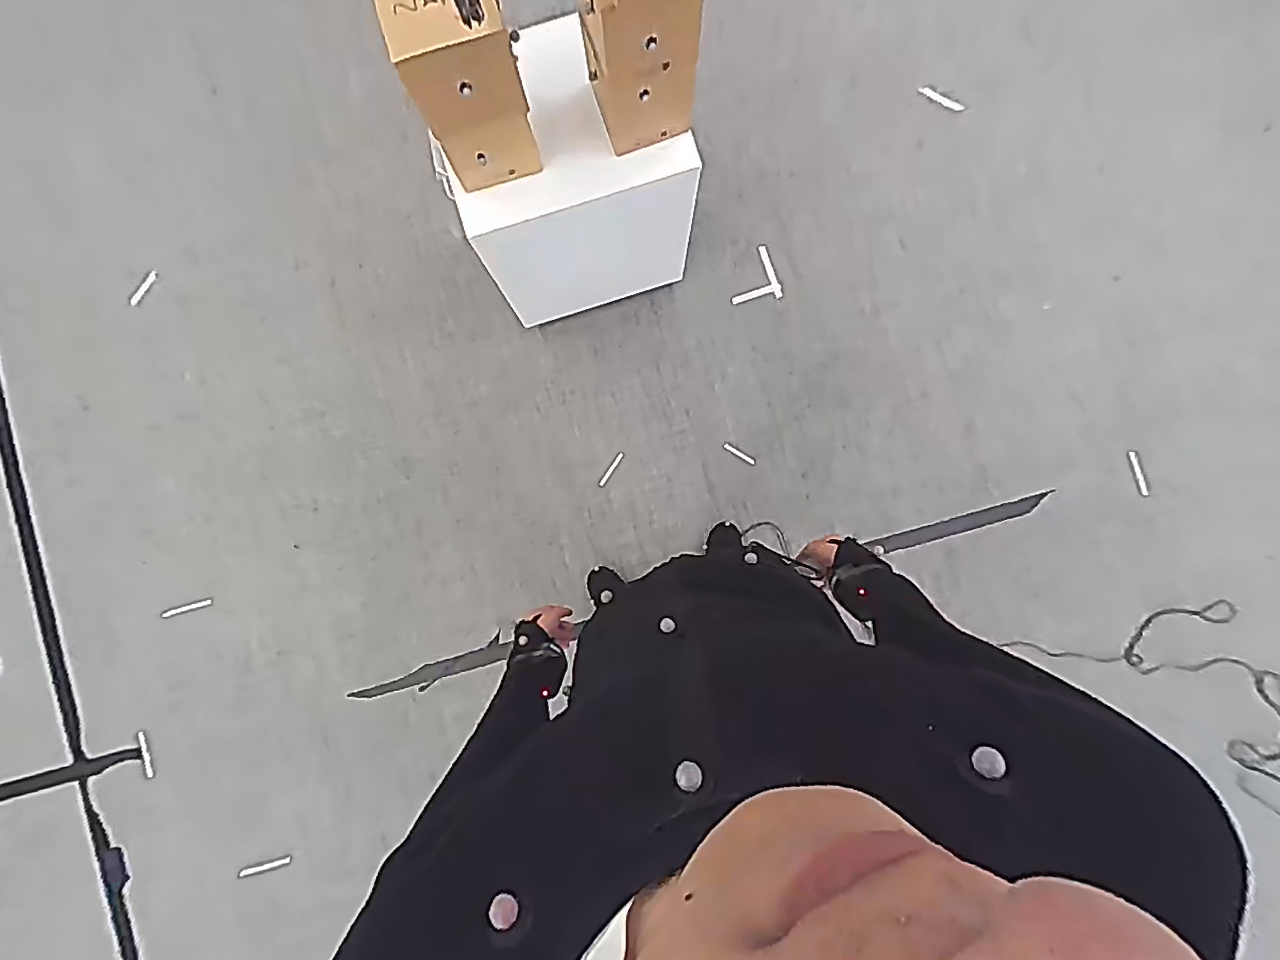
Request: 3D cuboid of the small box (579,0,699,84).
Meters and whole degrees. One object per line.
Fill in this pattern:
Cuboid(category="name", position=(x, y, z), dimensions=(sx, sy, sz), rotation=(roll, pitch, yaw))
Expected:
Cuboid(category="small box", position=(-0.006, -0.781, 0.864), dimensions=(0.168, 0.176, 0.179), rotation=(-19, 87, 0))

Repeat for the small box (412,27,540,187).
Cuboid(category="small box", position=(-0.301, -0.692, 1.030), dimensions=(0.168, 0.176, 0.179), rotation=(-17, 86, -1))

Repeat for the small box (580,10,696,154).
Cuboid(category="small box", position=(-0.004, -0.773, 1.029), dimensions=(0.168, 0.176, 0.179), rotation=(-20, 87, 1))
